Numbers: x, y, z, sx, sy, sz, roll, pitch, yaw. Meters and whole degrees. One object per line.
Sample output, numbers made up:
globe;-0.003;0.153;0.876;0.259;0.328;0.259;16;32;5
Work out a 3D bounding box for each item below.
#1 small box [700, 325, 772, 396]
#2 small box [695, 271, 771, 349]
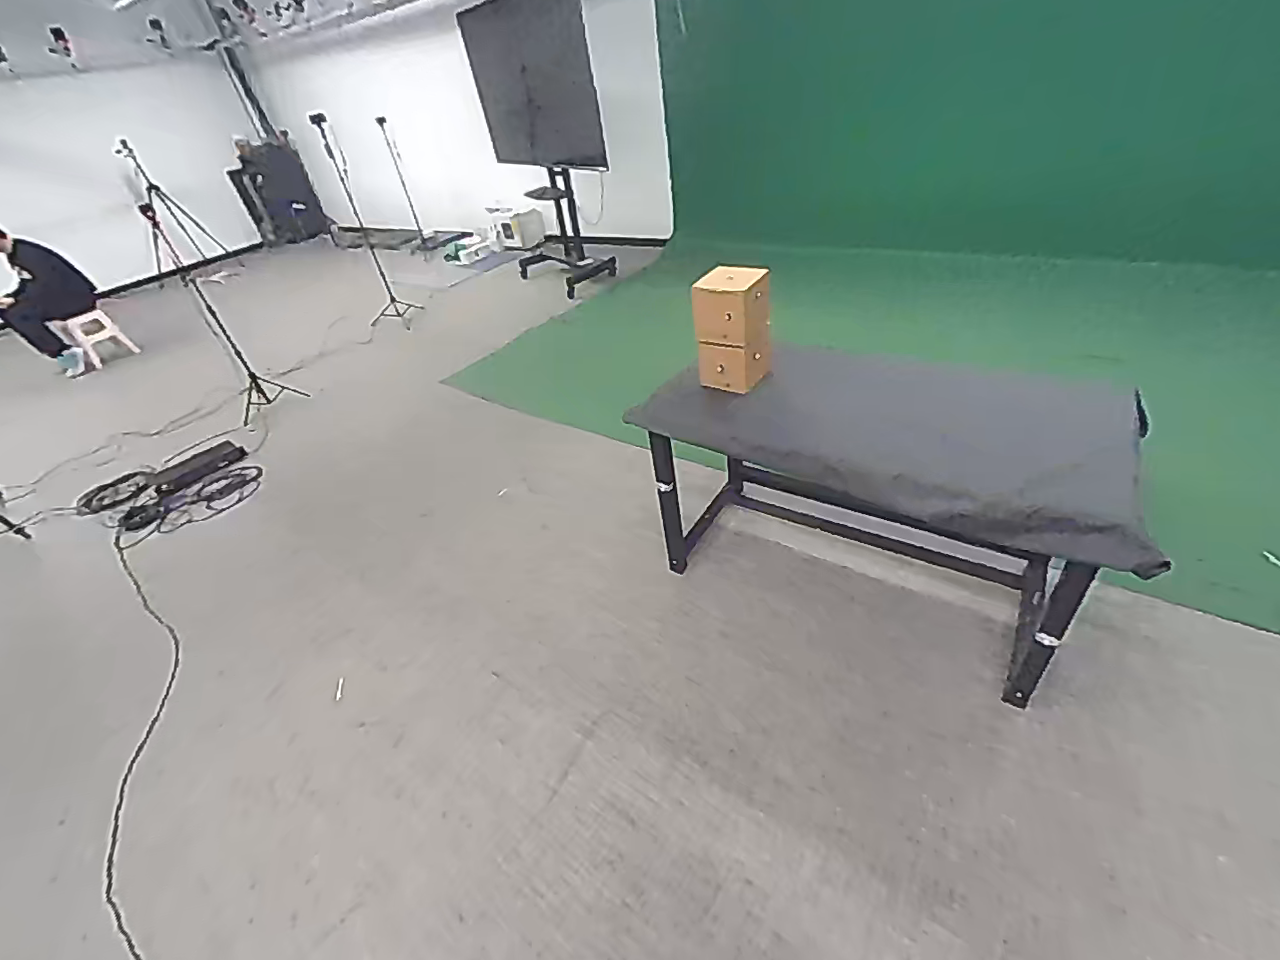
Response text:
small box;0.310;-0.389;1.725;0.168;0.176;0.179;20;47;32
small box;0.281;-0.508;1.617;0.168;0.176;0.179;18;45;30
